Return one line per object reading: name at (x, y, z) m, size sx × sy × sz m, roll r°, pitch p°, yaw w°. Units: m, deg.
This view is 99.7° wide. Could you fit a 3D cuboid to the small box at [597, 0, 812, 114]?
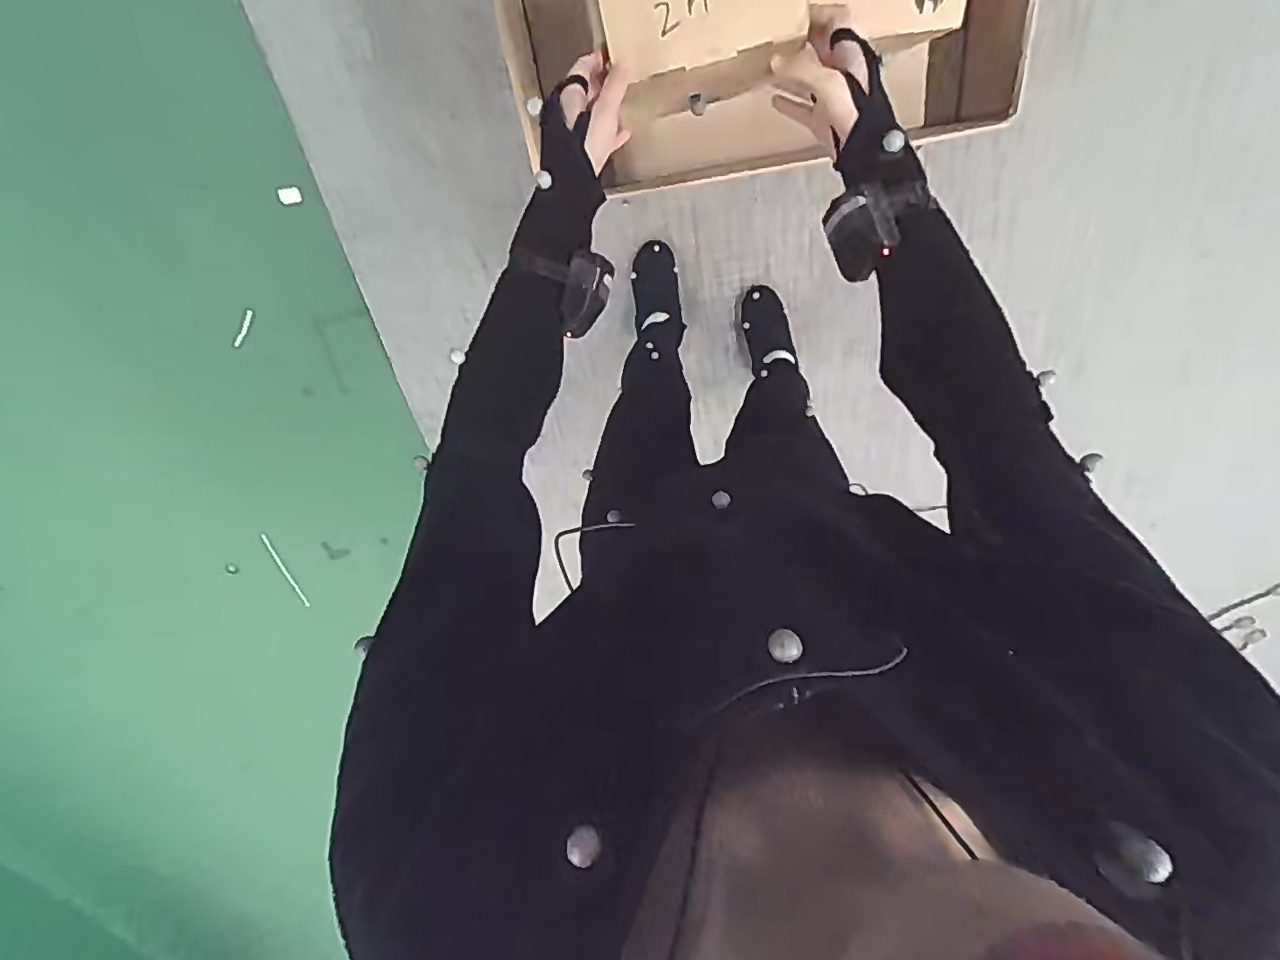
small box at (0.041, -0.457, 0.478) m, size 0.168 × 0.176 × 0.179 m, roll -11°, pitch 115°, yaw 5°
